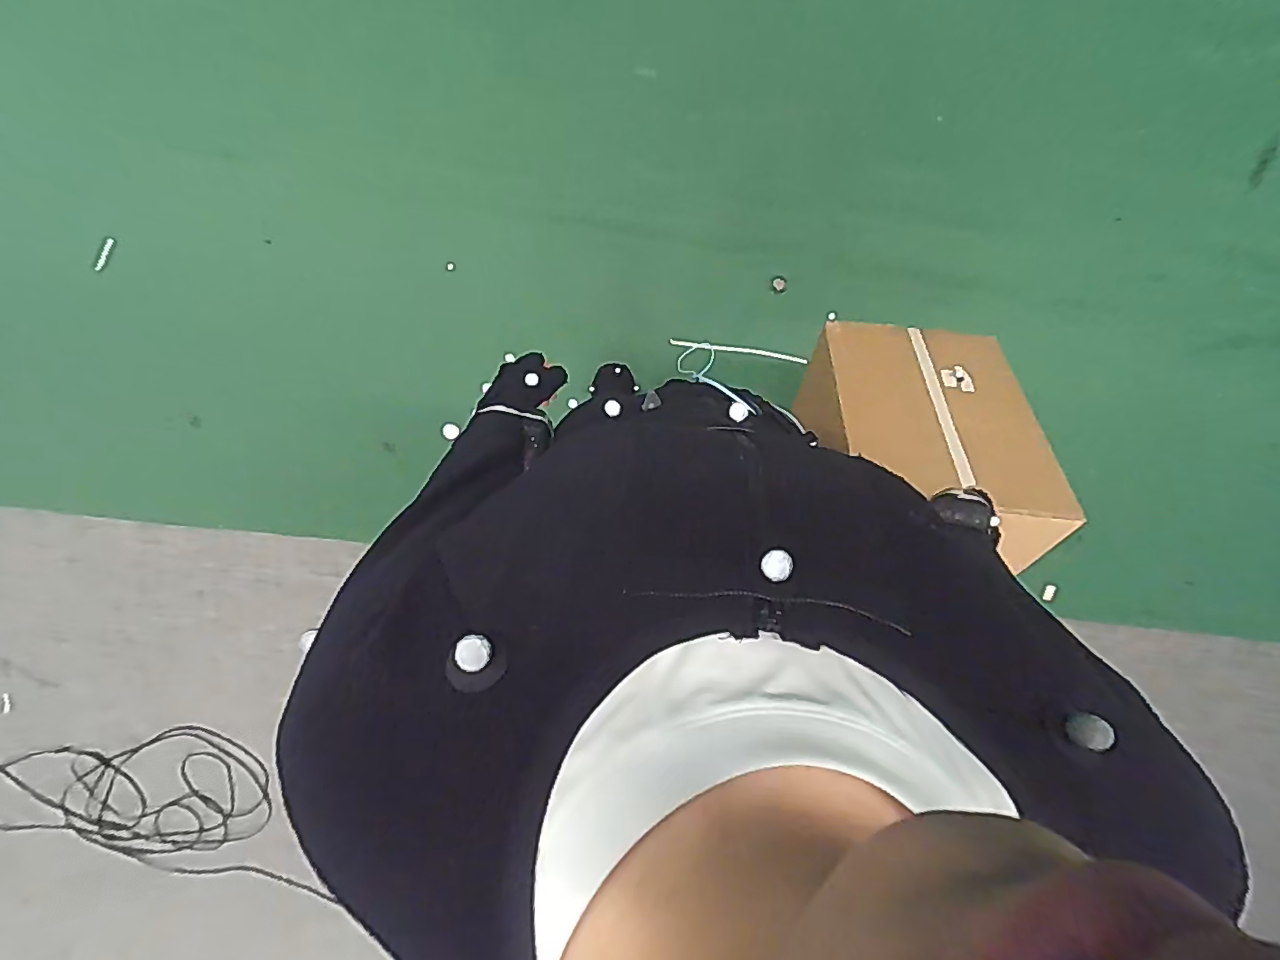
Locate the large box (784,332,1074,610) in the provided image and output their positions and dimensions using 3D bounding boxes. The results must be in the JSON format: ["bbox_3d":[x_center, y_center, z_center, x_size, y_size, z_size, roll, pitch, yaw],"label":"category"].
[{"bbox_3d":[0.466,-0.015,0.993,0.320,0.408,0.320,6,142,1],"label":"large box"}]
